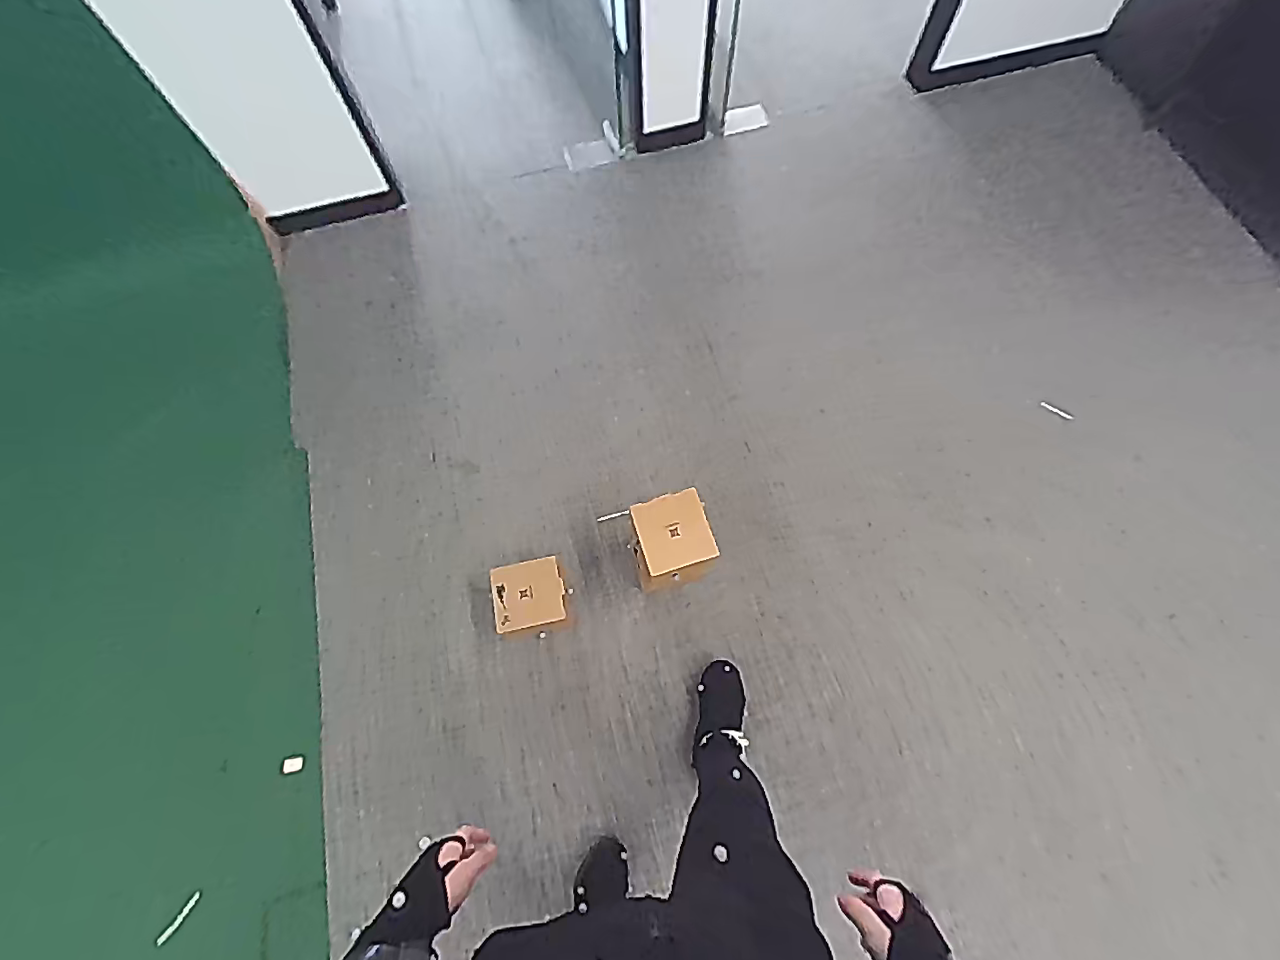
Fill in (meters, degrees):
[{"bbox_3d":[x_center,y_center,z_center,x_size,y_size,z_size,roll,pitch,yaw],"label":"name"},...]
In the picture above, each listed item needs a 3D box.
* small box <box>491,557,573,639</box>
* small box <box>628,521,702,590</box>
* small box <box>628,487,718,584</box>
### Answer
[{"bbox_3d":[-0.277,0.315,1.425,0.179,0.176,0.168,-12,68,-3],"label":"small box"},{"bbox_3d":[0.073,0.191,1.462,0.179,0.176,0.168,-13,69,-4],"label":"small box"},{"bbox_3d":[0.078,0.144,1.306,0.168,0.176,0.179,-17,69,-5],"label":"small box"}]
